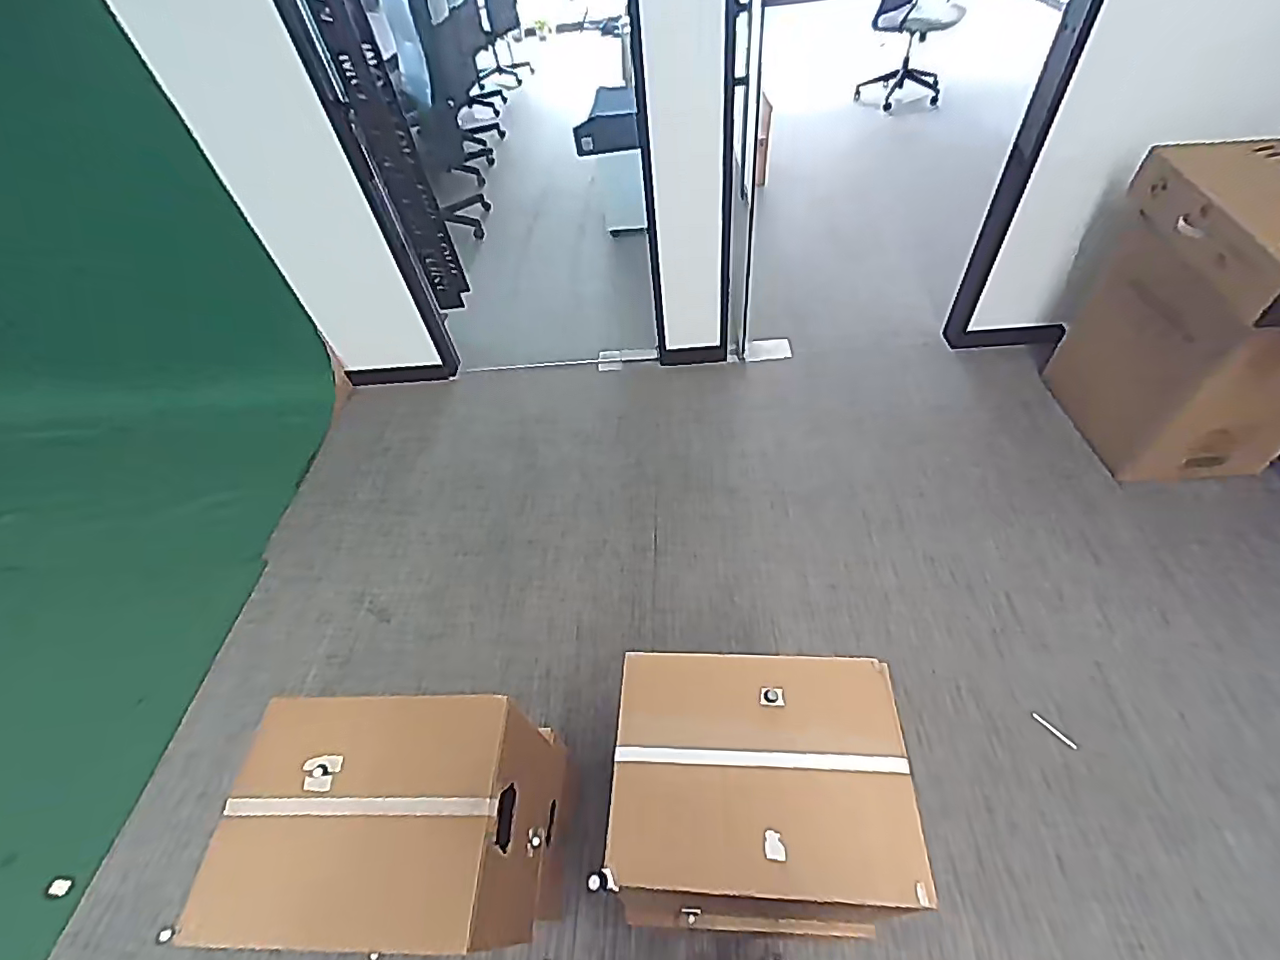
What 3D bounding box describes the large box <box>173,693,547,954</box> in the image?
[{"bbox_3d":[-0.395,0.560,0.893,0.408,0.320,0.320,-3,52,6],"label":"large box"}]
